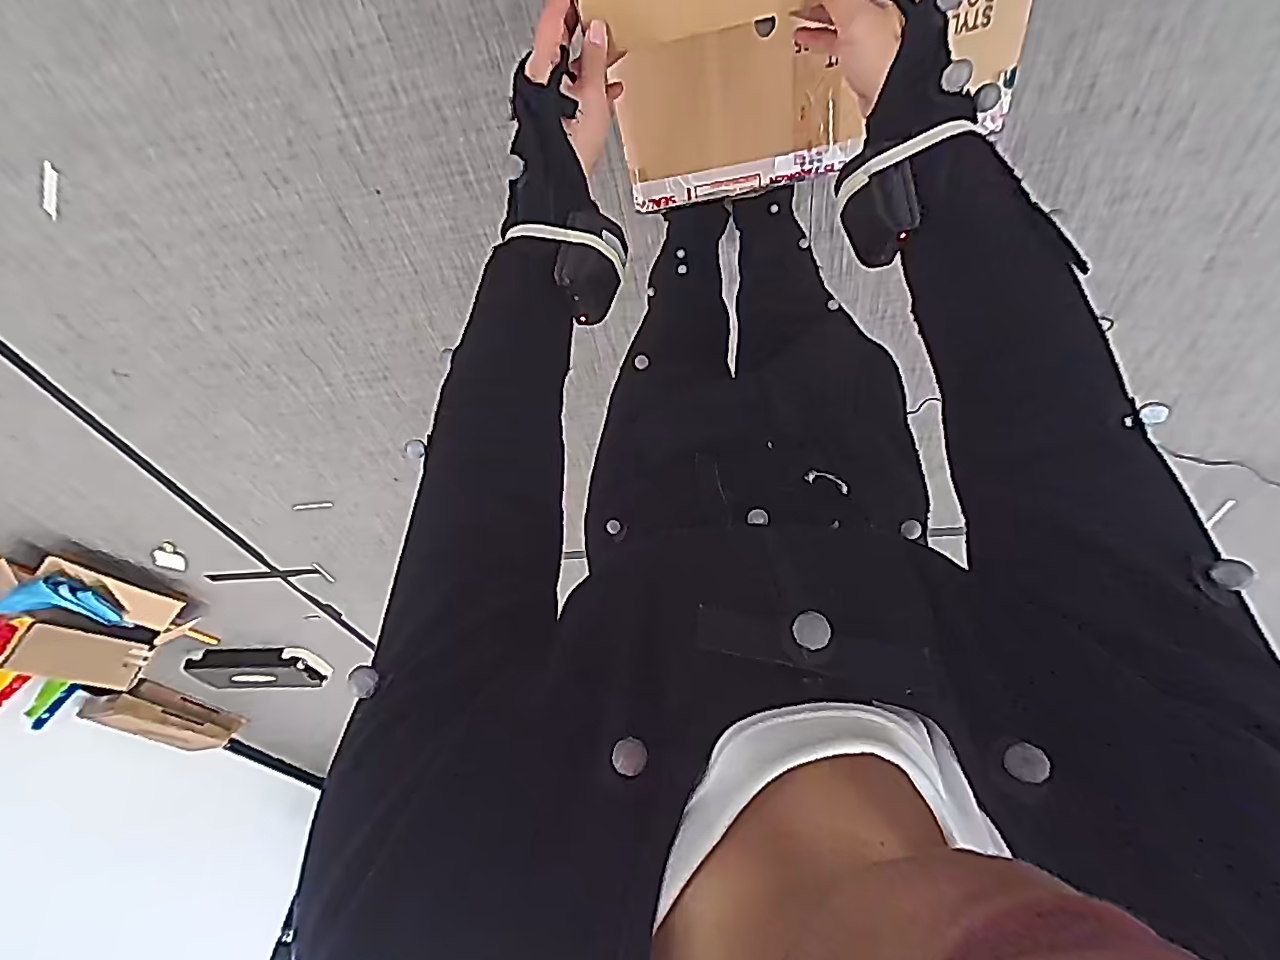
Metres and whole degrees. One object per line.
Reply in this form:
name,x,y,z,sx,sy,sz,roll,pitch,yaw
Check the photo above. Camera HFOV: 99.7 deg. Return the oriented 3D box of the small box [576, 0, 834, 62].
small box,0.037,-0.425,0.372,0.179,0.176,0.168,-4,138,11
